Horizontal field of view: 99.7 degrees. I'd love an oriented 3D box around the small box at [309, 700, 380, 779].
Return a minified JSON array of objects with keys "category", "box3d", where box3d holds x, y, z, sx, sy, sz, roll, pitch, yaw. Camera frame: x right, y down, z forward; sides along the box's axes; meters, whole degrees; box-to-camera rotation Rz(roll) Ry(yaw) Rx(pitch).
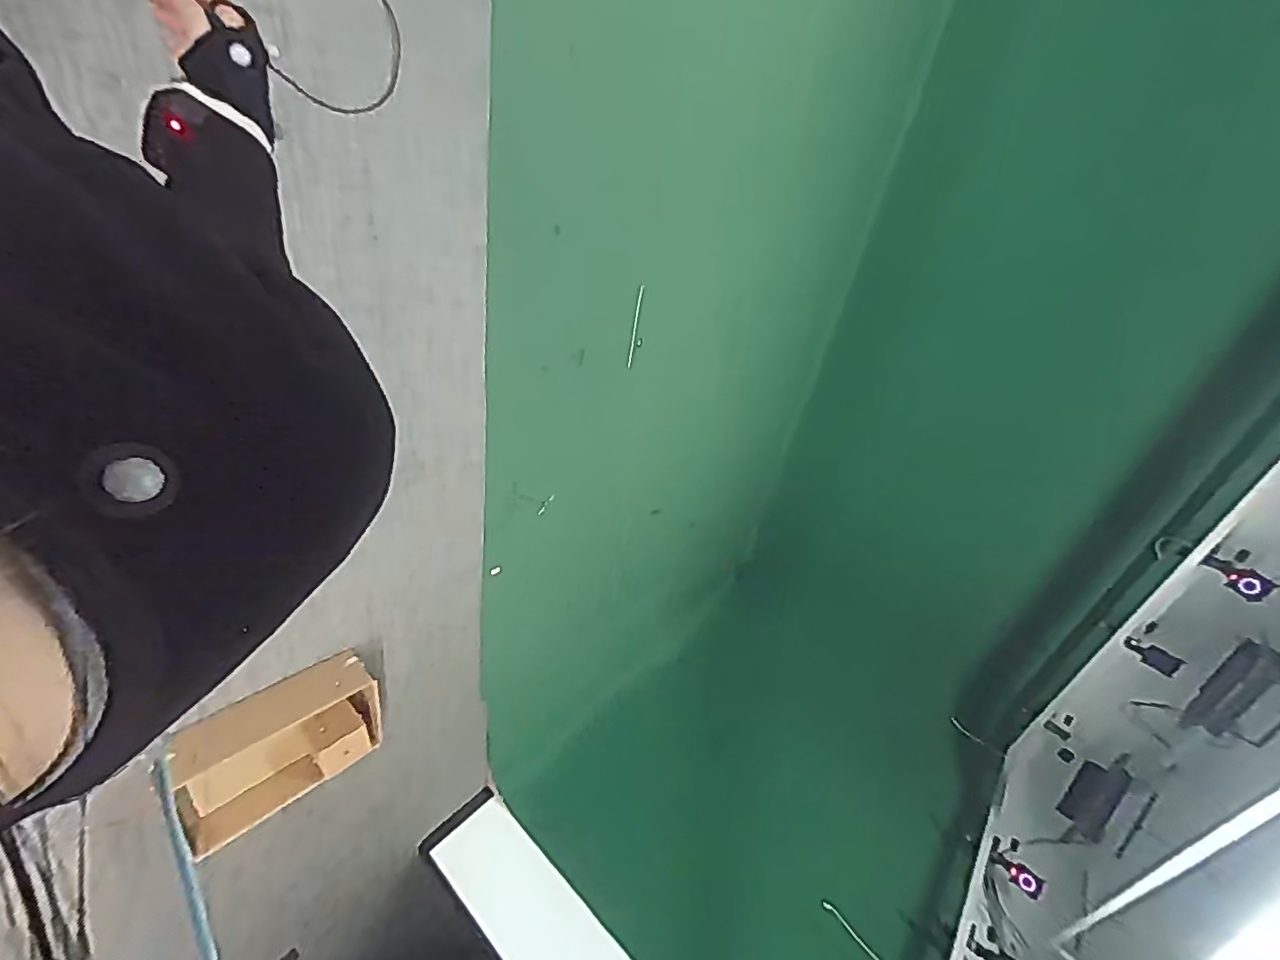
[{"category":"small box","box3d":[-1.096,0.950,2.002,0.168,0.176,0.179,-26,137,-42]}]
